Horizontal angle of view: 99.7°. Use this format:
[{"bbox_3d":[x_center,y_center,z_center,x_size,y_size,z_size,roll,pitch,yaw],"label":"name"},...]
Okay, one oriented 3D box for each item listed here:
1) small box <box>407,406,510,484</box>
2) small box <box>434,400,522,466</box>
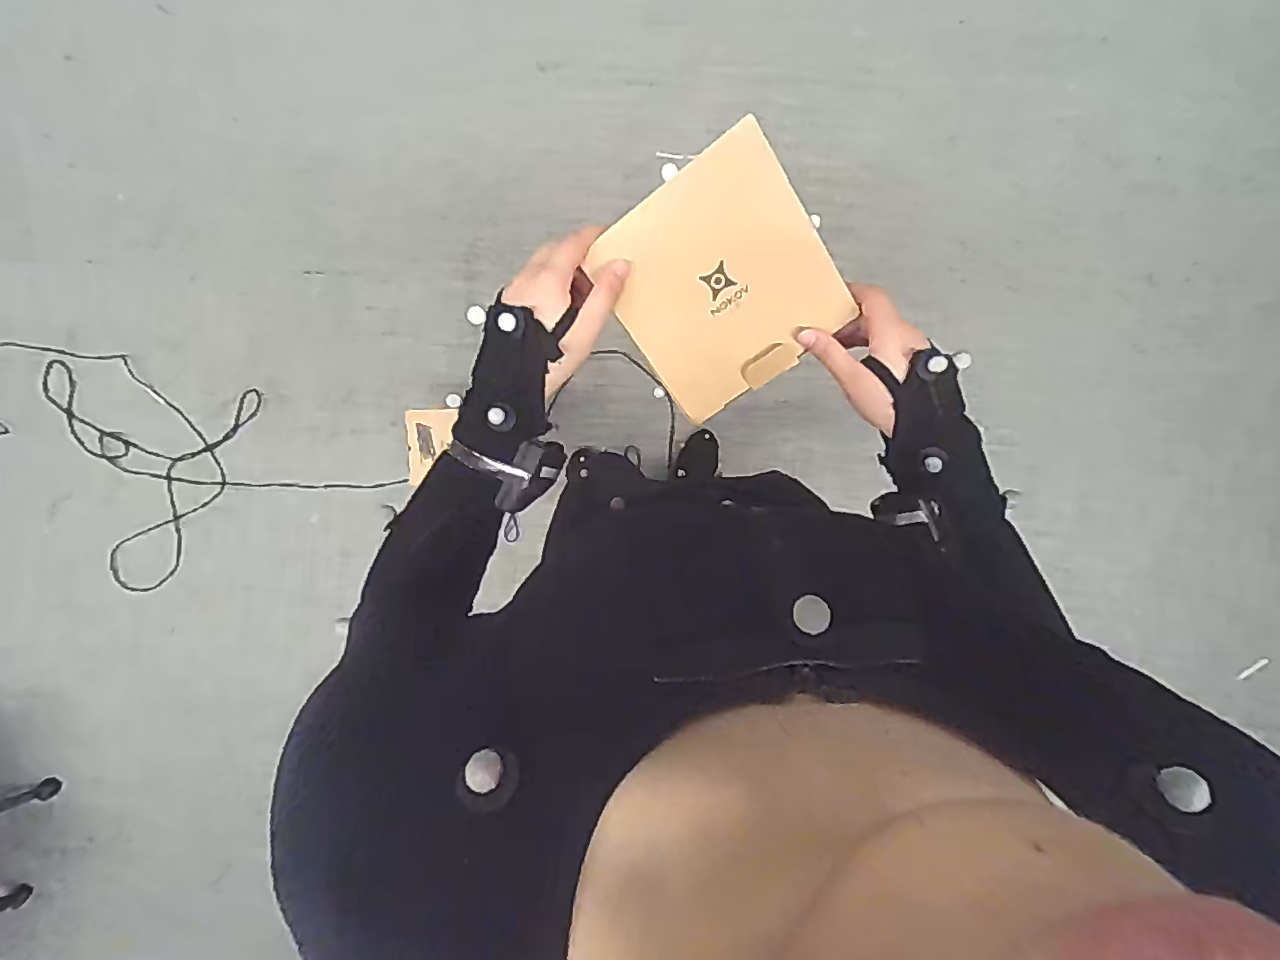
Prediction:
[{"bbox_3d":[-0.405,-0.081,1.227,0.179,0.176,0.168,-2,97,0],"label":"small box"},{"bbox_3d":[-0.407,-0.116,1.388,0.179,0.176,0.168,-5,95,2],"label":"small box"}]
